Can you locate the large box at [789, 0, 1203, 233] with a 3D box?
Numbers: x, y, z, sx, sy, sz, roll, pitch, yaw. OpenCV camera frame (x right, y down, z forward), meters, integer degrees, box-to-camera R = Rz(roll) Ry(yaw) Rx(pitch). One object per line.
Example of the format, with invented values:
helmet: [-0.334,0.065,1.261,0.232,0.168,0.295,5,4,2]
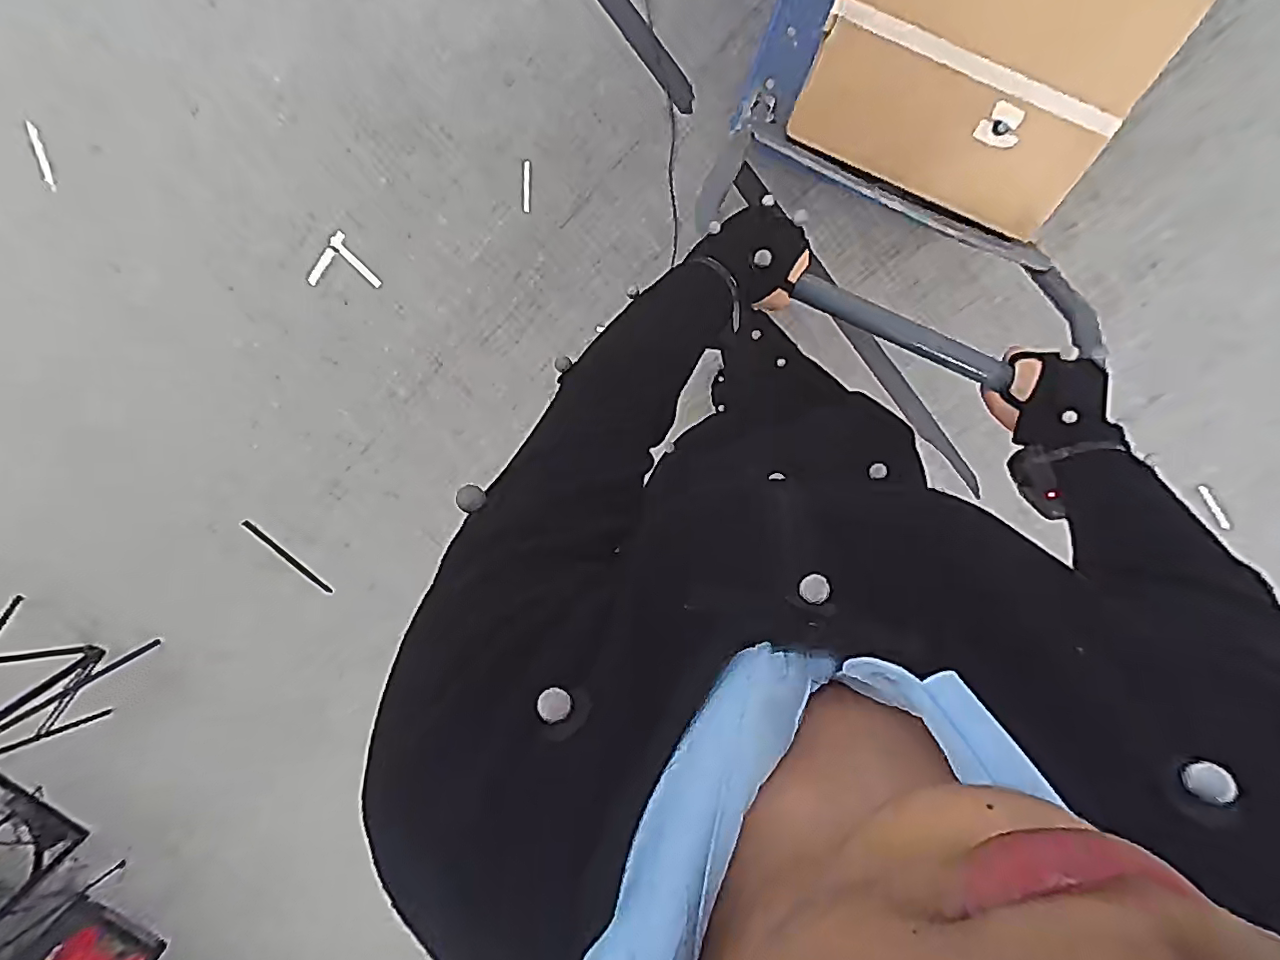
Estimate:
large box: [0.484,-0.645,0.843,0.408,0.320,0.320,23,130,-2]
